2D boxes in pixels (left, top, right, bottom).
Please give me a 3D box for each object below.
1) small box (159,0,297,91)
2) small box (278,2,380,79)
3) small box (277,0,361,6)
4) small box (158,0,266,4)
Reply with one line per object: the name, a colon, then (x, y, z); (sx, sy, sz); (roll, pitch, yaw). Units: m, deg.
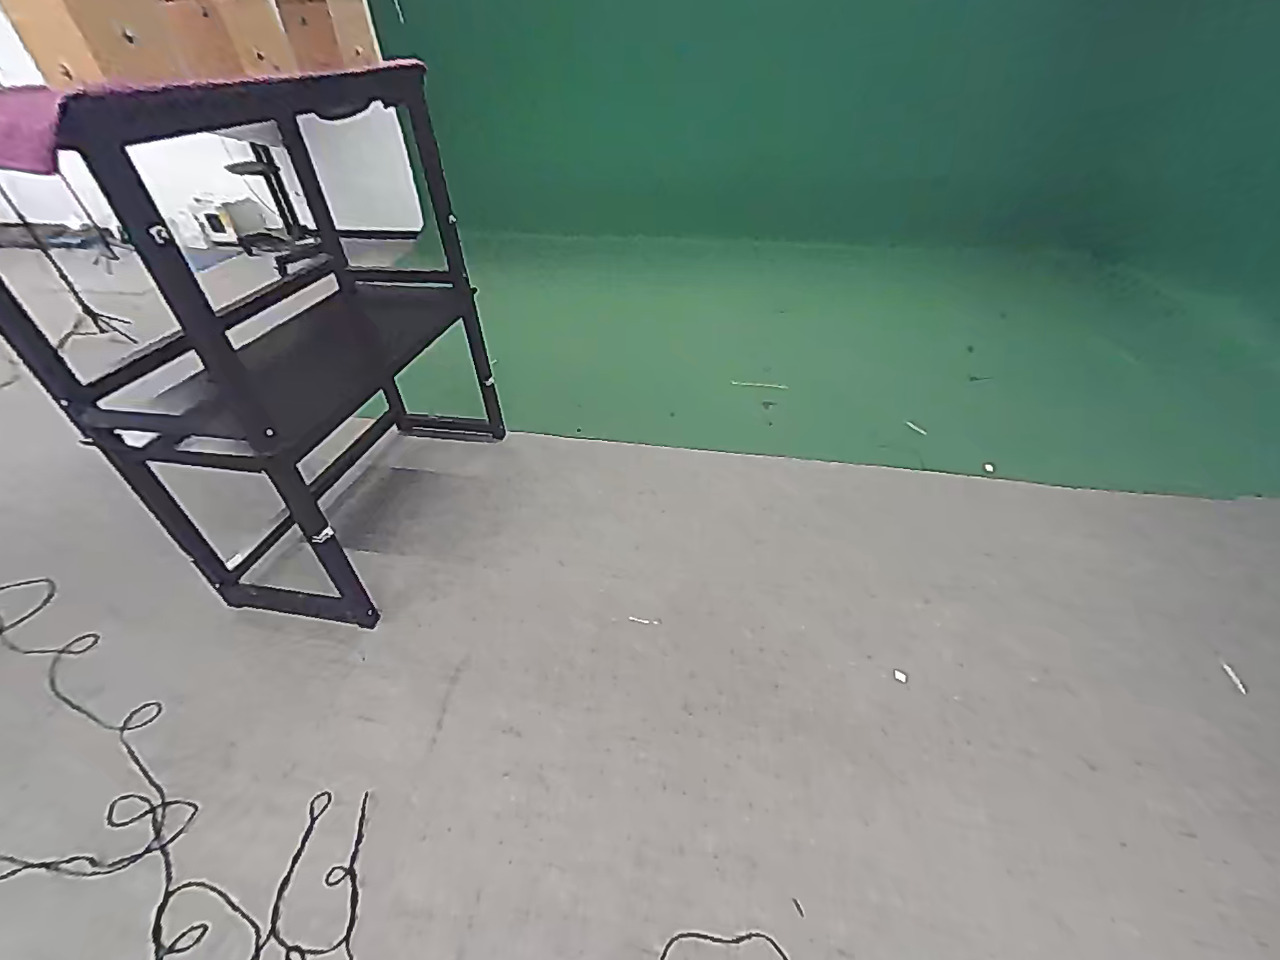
small box: (-1.009, -1.074, 1.340); (0.179, 0.176, 0.168); (8, 41, 14)
small box: (-0.925, -1.318, 1.627); (0.179, 0.176, 0.168); (9, 42, 13)
small box: (-0.934, -1.445, 1.522); (0.179, 0.176, 0.168); (9, 42, 14)
small box: (-1.015, -1.195, 1.232); (0.179, 0.176, 0.168); (5, 41, 9)
